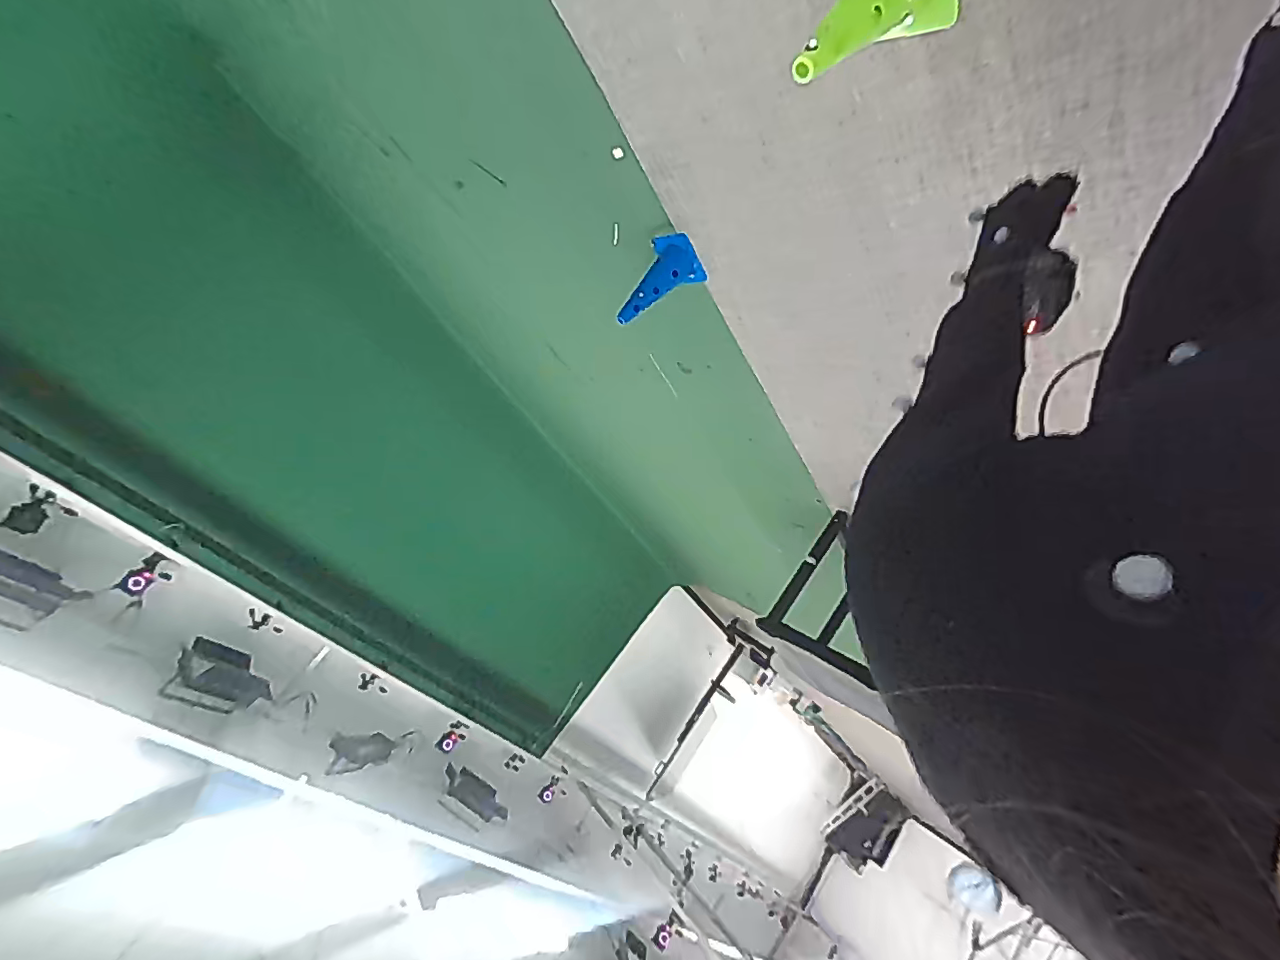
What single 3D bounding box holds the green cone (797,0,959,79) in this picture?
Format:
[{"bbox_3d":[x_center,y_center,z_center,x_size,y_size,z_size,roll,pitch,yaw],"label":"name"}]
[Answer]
[{"bbox_3d":[0.387,-0.821,0.960,0.202,0.368,0.200,25,157,41],"label":"green cone"}]
